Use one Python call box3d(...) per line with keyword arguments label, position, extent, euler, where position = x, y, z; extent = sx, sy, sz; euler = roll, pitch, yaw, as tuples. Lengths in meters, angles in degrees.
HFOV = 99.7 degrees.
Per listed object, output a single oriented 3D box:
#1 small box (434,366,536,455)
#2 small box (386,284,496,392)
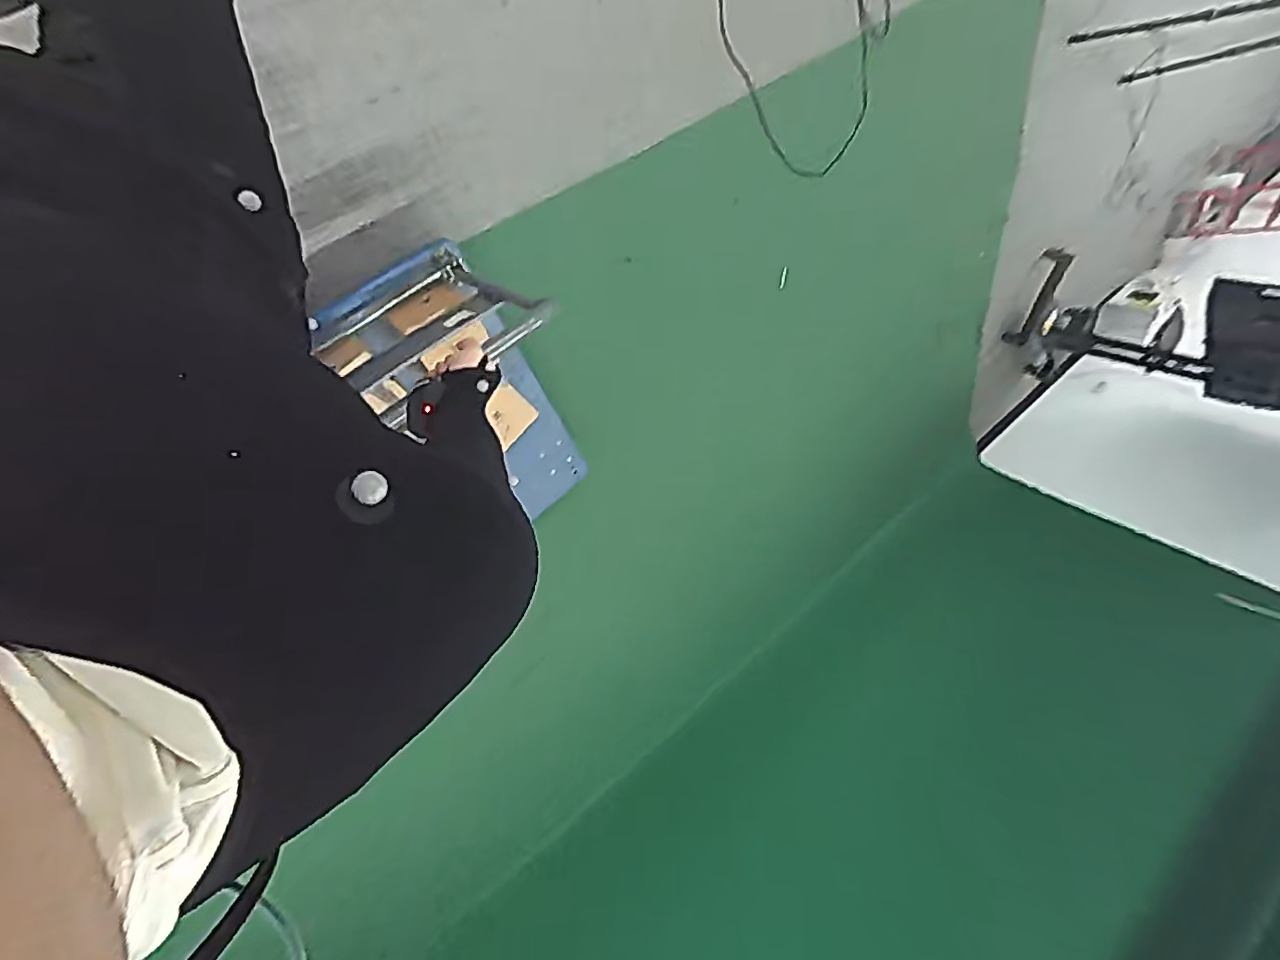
box3d(label="small box", position=(-0.423, -0.202, 1.462), extent=(0.168, 0.176, 0.179), euler=(-47, 136, -5))
box3d(label="small box", position=(-0.486, -0.350, 1.318), extent=(0.168, 0.176, 0.179), euler=(-36, 134, -16))
